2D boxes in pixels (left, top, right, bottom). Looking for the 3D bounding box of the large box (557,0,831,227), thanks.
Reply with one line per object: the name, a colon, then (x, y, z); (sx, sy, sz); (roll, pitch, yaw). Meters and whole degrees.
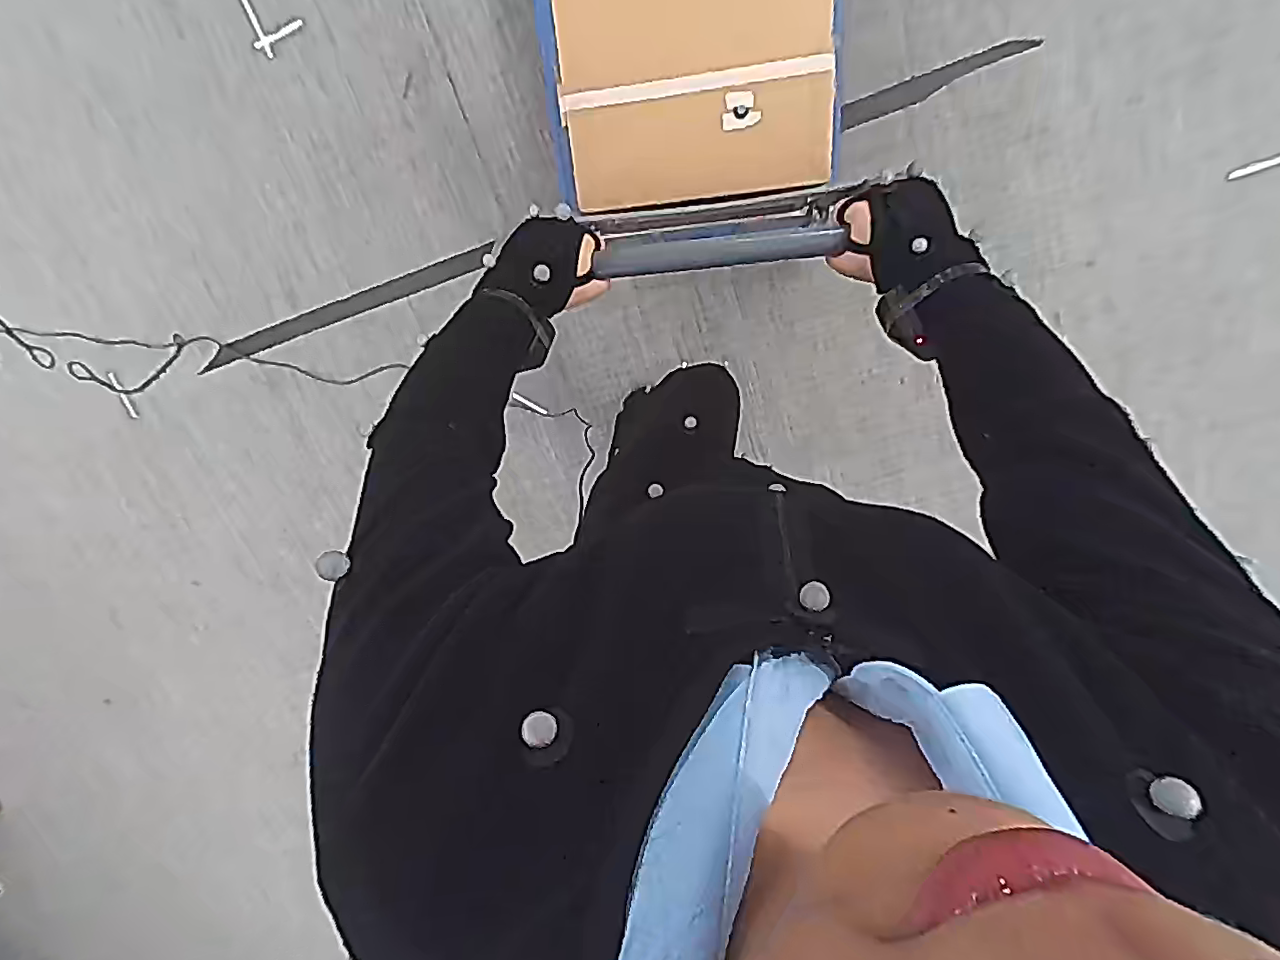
large box: (0.098, -0.659, 0.969); (0.408, 0.320, 0.320); (-5, 111, 6)
